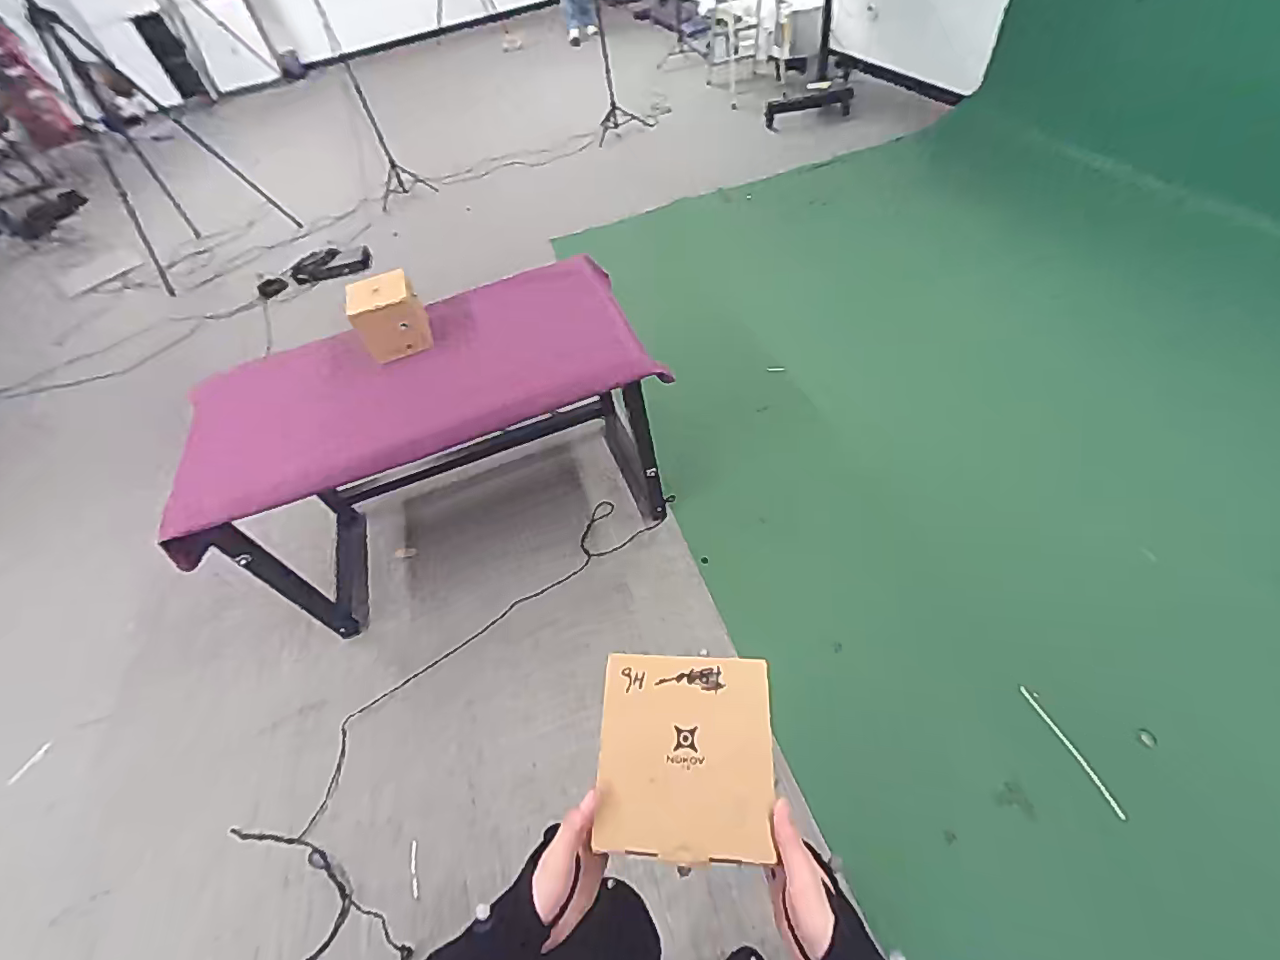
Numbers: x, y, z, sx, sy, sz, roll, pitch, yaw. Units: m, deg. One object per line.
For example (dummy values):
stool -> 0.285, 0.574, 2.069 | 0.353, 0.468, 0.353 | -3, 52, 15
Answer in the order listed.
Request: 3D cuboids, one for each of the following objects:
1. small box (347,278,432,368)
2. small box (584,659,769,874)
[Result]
small box -> -0.714, -0.443, 1.551 | 0.168, 0.176, 0.179 | -20, 50, -7
small box -> 0.044, 0.302, 0.579 | 0.168, 0.176, 0.179 | -1, 58, 6
